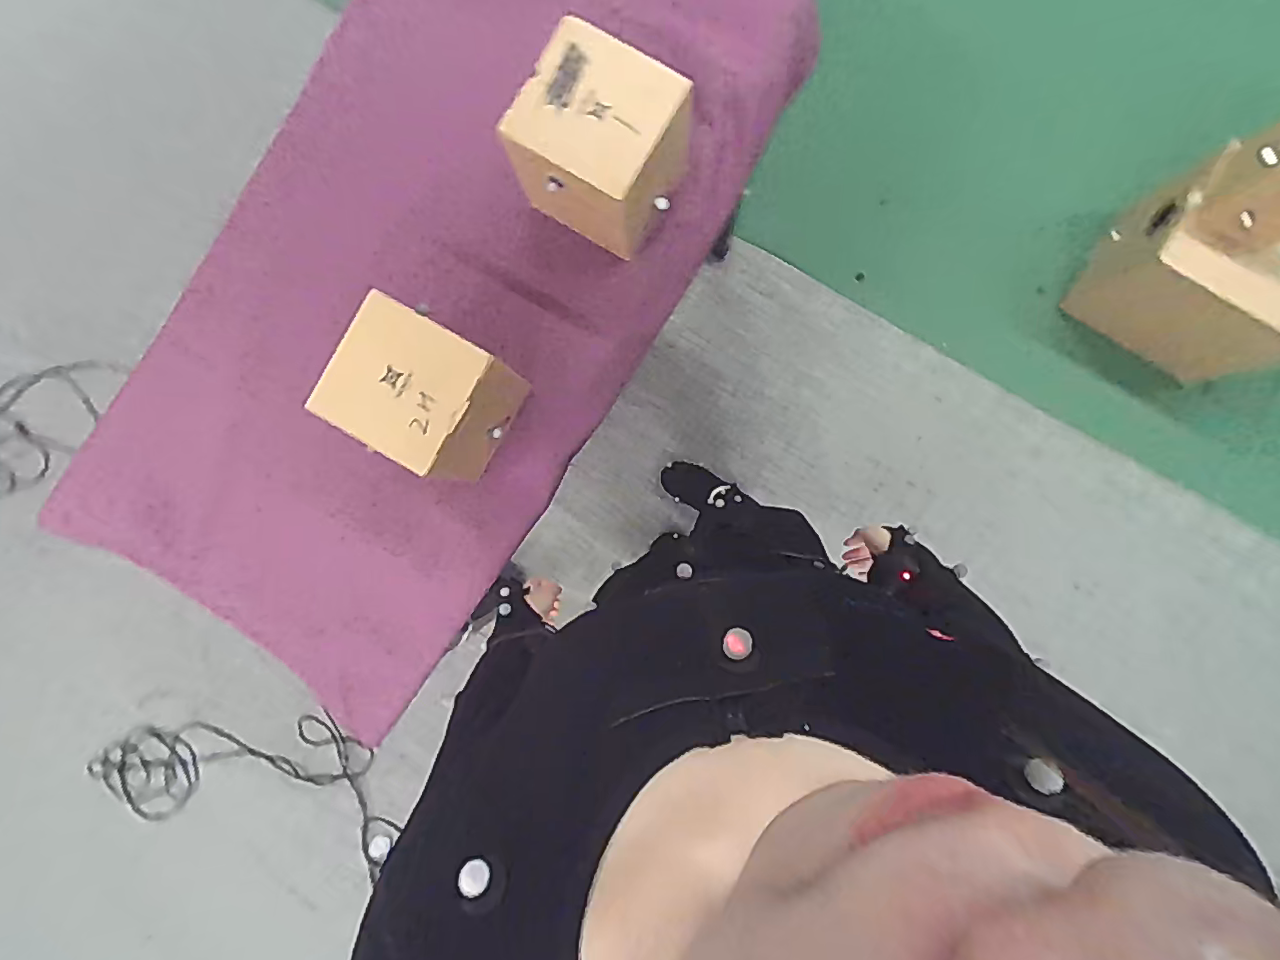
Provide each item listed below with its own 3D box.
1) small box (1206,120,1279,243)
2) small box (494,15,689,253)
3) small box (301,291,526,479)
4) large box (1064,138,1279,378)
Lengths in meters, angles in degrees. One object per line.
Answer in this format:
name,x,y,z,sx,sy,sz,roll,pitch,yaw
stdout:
small box,1.292,-0.608,1.056,0.168,0.176,0.179,32,90,3
small box,-0.053,-0.432,0.707,0.179,0.176,0.168,31,90,4
small box,-0.280,-0.109,0.708,0.179,0.176,0.168,29,91,5
large box,1.368,-0.500,1.292,0.408,0.320,0.320,32,91,3
